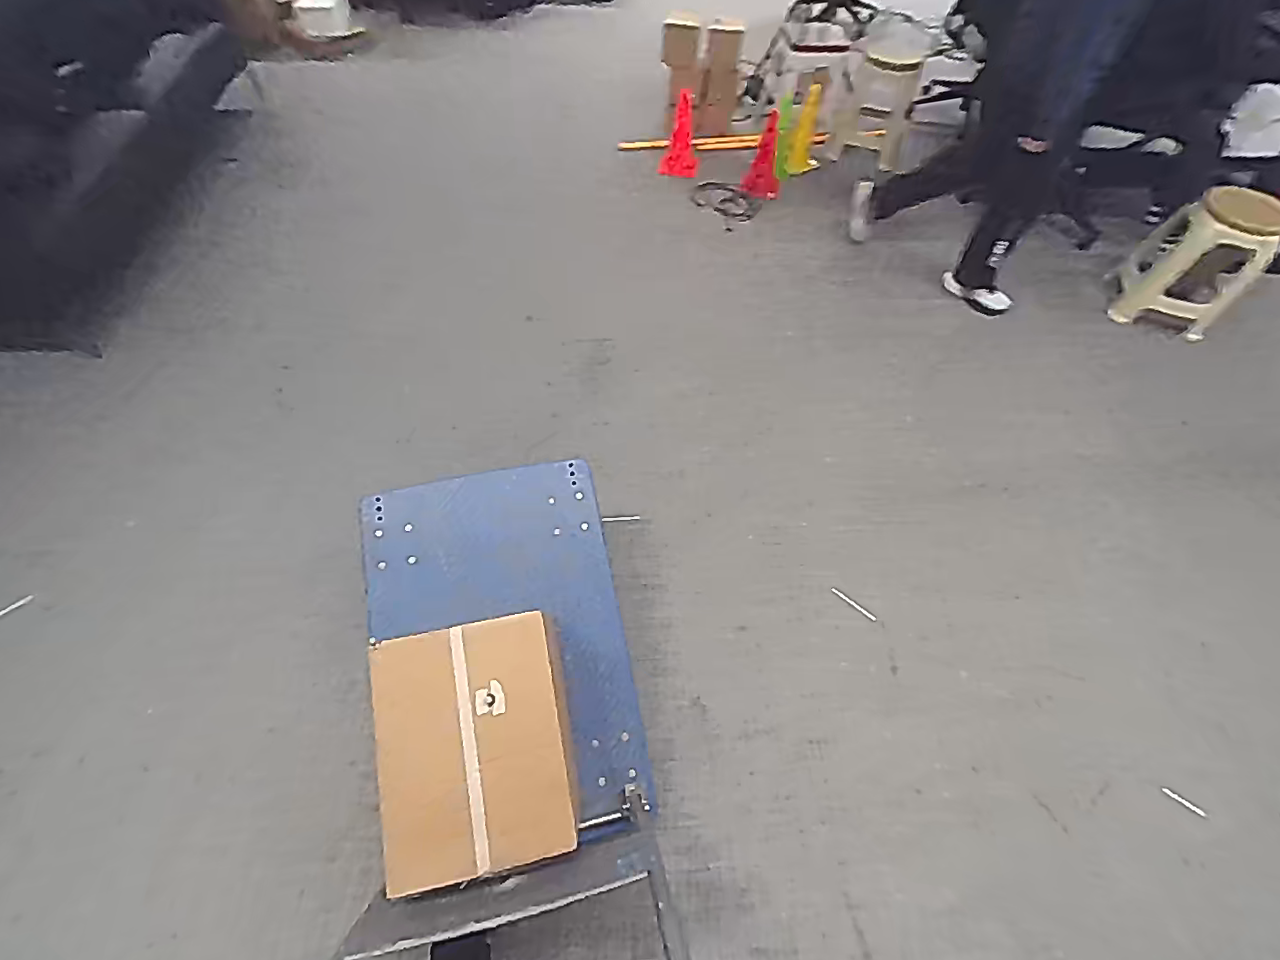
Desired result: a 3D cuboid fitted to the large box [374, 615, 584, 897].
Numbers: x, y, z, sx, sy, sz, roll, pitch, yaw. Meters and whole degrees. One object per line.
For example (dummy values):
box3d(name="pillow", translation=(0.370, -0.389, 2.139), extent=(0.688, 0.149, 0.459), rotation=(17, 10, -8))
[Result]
box3d(name="large box", translation=(-0.304, 0.513, 1.094), extent=(0.320, 0.320, 0.408), rotation=(-10, 74, -8))
